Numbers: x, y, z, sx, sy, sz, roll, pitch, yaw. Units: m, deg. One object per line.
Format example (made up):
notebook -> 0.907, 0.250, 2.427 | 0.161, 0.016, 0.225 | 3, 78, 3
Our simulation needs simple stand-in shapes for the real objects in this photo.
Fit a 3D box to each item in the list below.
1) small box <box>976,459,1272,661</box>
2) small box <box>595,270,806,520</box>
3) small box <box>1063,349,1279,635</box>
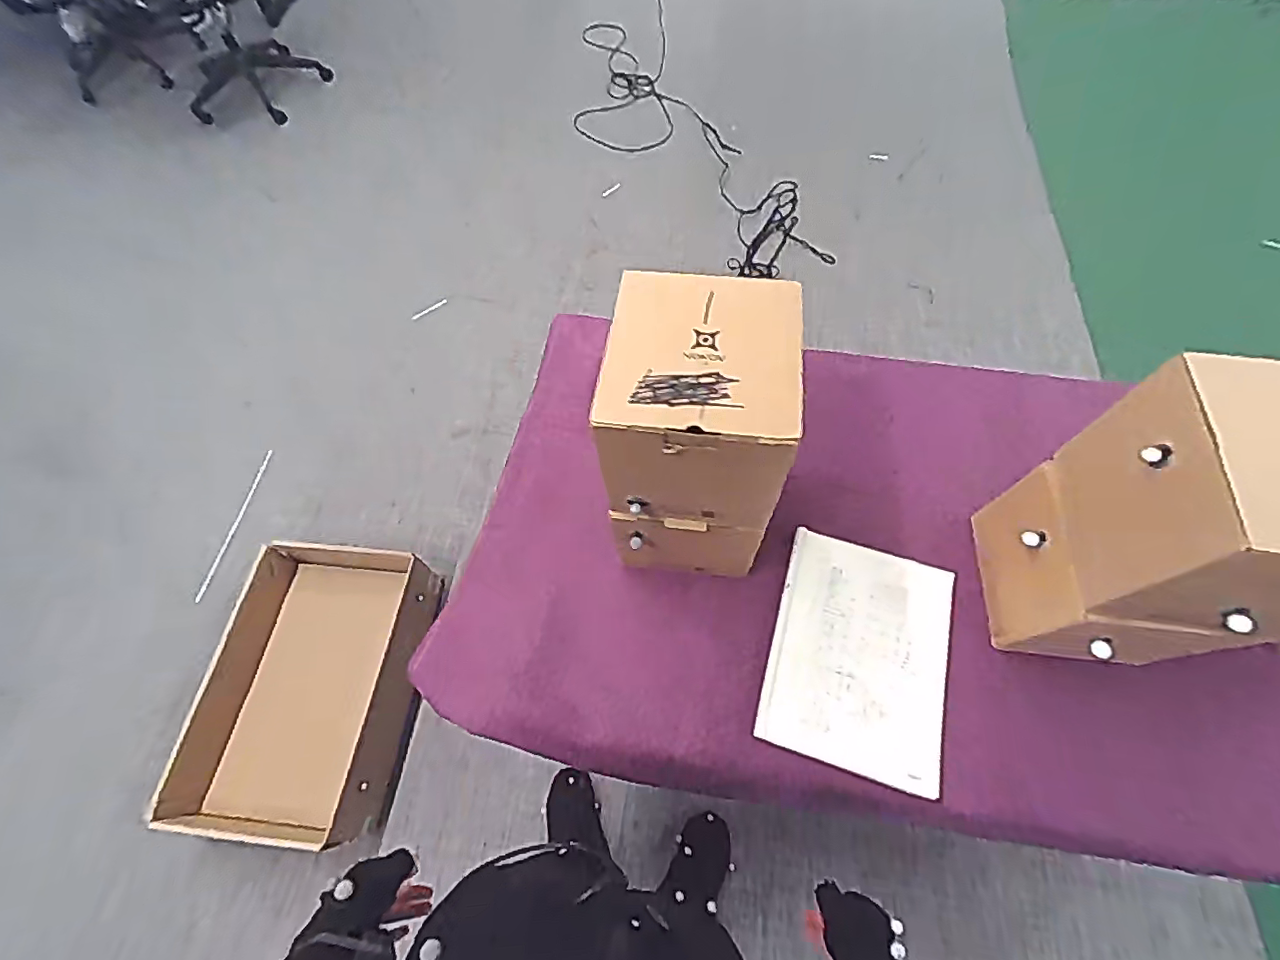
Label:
small box -> 0.511, 0.097, 0.607 | 0.168, 0.176, 0.179 | 5, 63, 6
small box -> 0.061, -0.075, 0.530 | 0.168, 0.176, 0.179 | 6, 62, 6
small box -> 0.506, 0.018, 0.462 | 0.168, 0.176, 0.179 | 8, 64, 8
